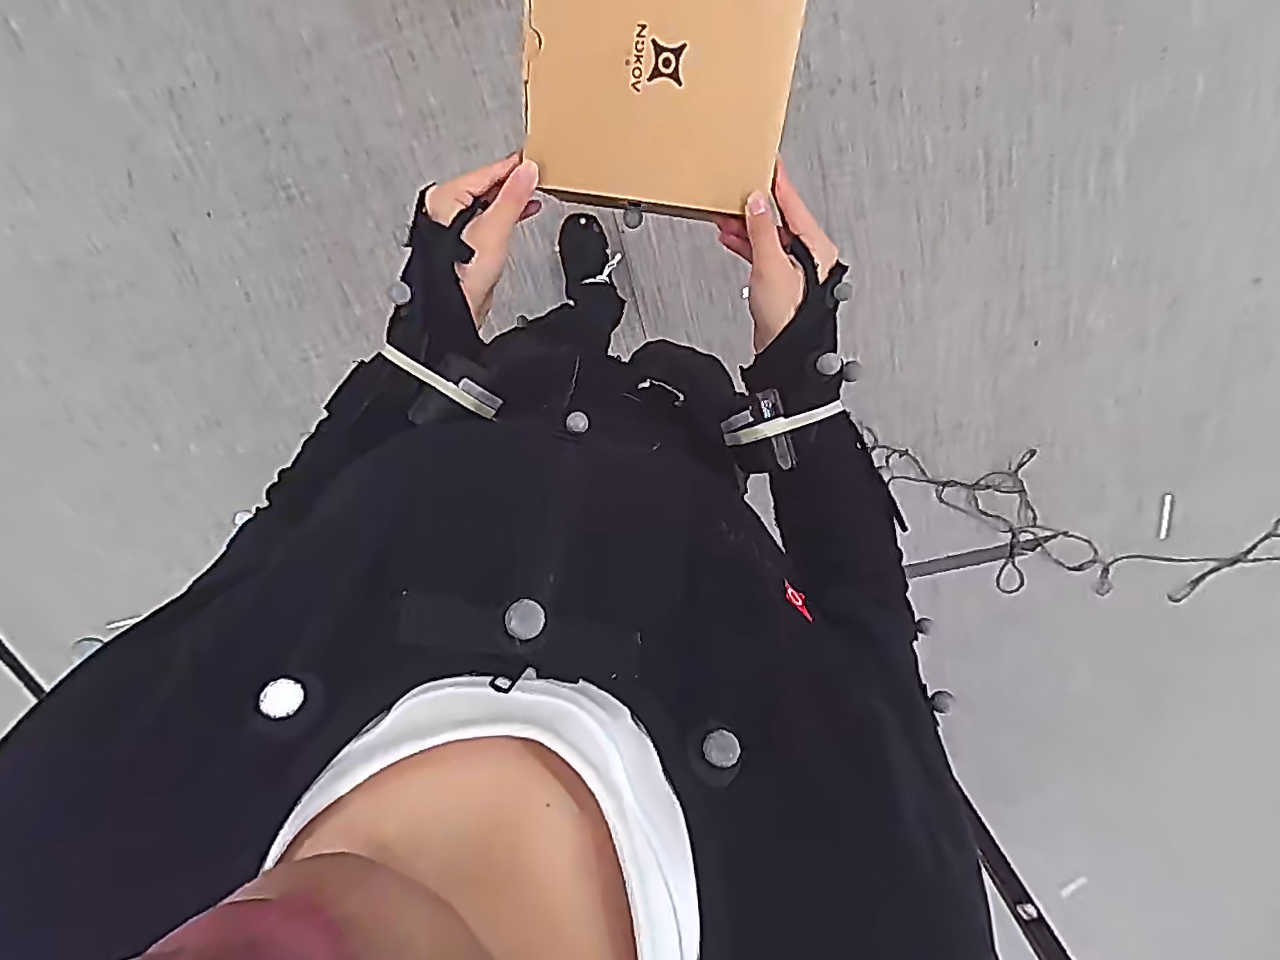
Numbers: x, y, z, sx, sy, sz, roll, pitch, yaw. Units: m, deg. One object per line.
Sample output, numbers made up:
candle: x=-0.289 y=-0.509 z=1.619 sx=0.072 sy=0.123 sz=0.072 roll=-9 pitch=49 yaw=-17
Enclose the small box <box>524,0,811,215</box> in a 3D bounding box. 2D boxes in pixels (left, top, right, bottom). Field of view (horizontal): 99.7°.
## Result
small box: x=0.017 y=-0.308 z=0.420 sx=0.179 sy=0.176 sz=0.168 roll=7 pitch=114 yaw=-1
